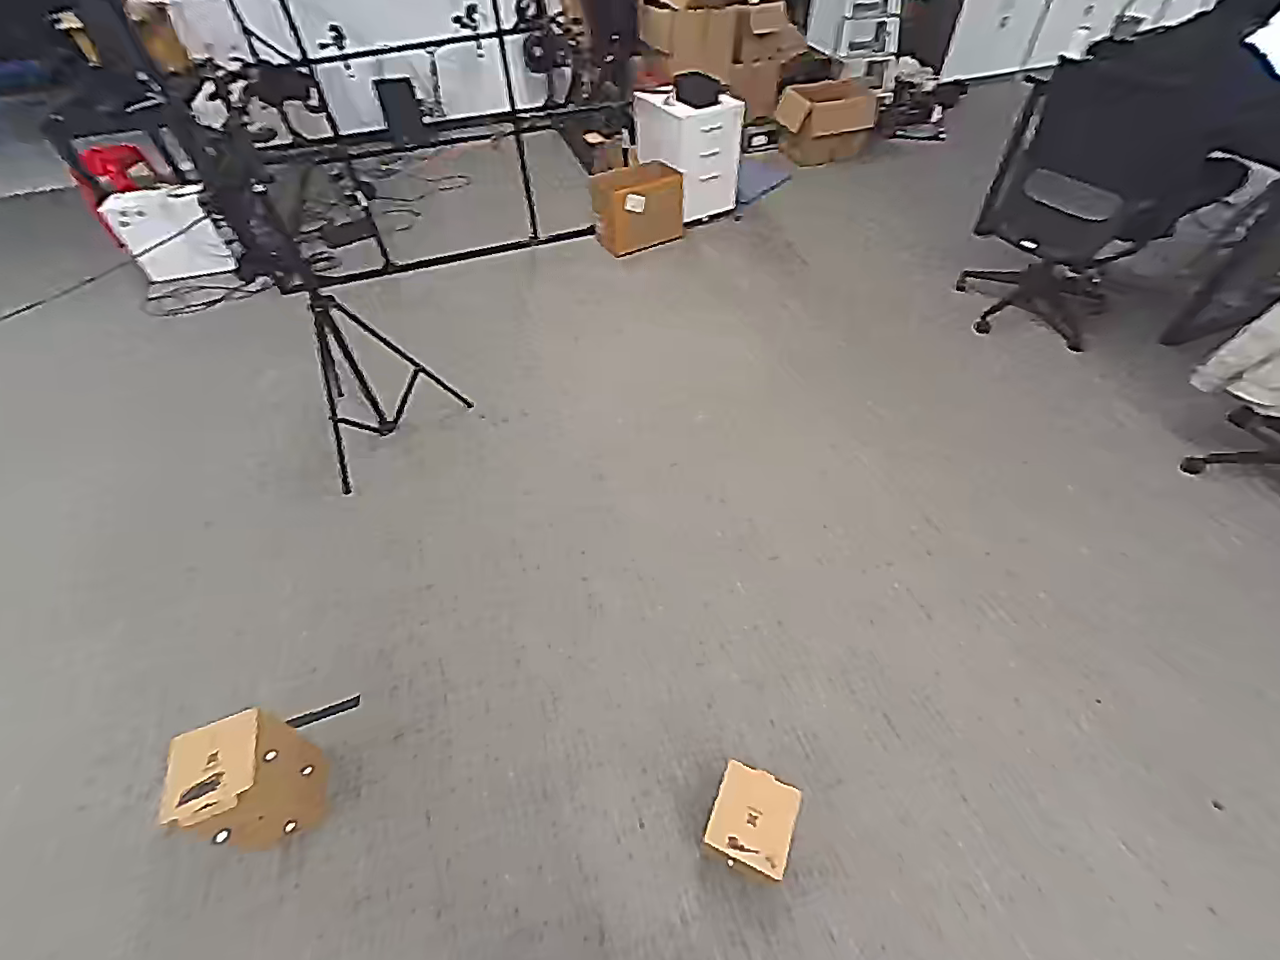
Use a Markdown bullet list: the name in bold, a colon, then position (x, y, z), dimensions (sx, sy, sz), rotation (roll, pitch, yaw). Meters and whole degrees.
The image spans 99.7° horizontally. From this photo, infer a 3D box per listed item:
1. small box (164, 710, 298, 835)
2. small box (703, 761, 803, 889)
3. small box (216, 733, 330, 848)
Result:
- **small box**: position (-0.857, 0.629, 1.154), dimensions (0.168, 0.176, 0.179), rotation (-18, 50, -13)
- **small box**: position (0.243, 0.764, 1.196), dimensions (0.168, 0.176, 0.179), rotation (19, 52, 17)
- **small box**: position (-0.856, 0.739, 1.277), dimensions (0.168, 0.176, 0.179), rotation (-19, 49, -14)
